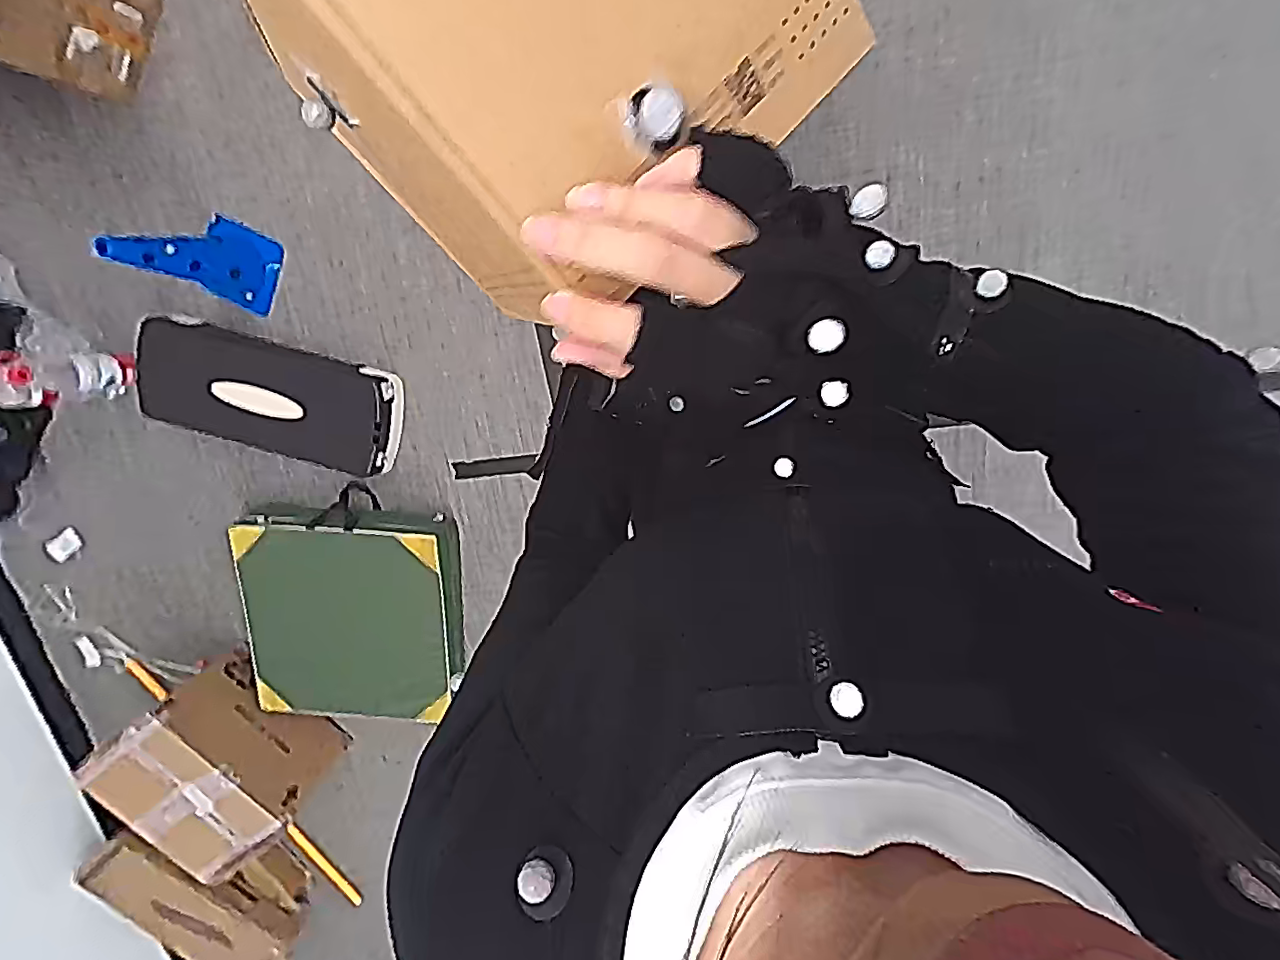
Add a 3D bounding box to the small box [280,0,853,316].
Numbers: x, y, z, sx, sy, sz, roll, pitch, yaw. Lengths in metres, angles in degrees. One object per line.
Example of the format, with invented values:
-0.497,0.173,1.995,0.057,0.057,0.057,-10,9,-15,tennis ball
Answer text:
-0.039,-0.198,0.264,0.168,0.179,0.176,-48,119,-5,small box
